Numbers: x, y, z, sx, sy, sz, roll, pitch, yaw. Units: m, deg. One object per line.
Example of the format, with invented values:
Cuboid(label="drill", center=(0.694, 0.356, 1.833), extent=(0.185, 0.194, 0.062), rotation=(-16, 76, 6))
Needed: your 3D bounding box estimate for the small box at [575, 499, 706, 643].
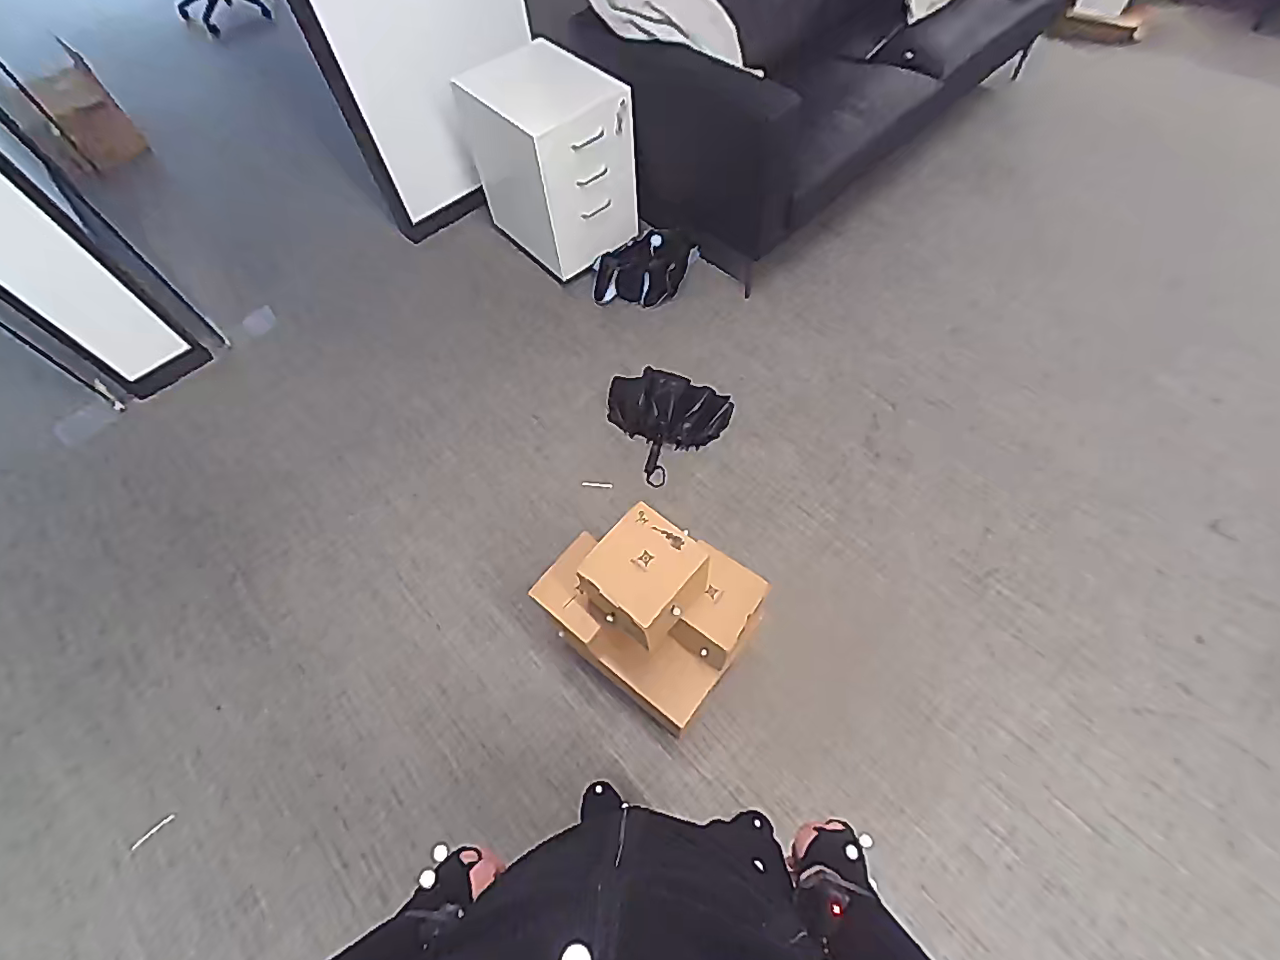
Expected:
Cuboid(label="small box", center=(0.008, 0.175, 1.004), extent=(0.168, 0.176, 0.179), rotation=(37, 70, 22))

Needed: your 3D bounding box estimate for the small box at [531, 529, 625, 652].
Cuboid(label="small box", center=(-0.103, 0.242, 1.164), extent=(0.168, 0.176, 0.179), rotation=(36, 71, 21))

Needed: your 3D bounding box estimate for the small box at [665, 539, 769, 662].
Cuboid(label="small box", center=(0.145, 0.260, 1.139), extent=(0.179, 0.176, 0.168), rotation=(31, 64, 20))
